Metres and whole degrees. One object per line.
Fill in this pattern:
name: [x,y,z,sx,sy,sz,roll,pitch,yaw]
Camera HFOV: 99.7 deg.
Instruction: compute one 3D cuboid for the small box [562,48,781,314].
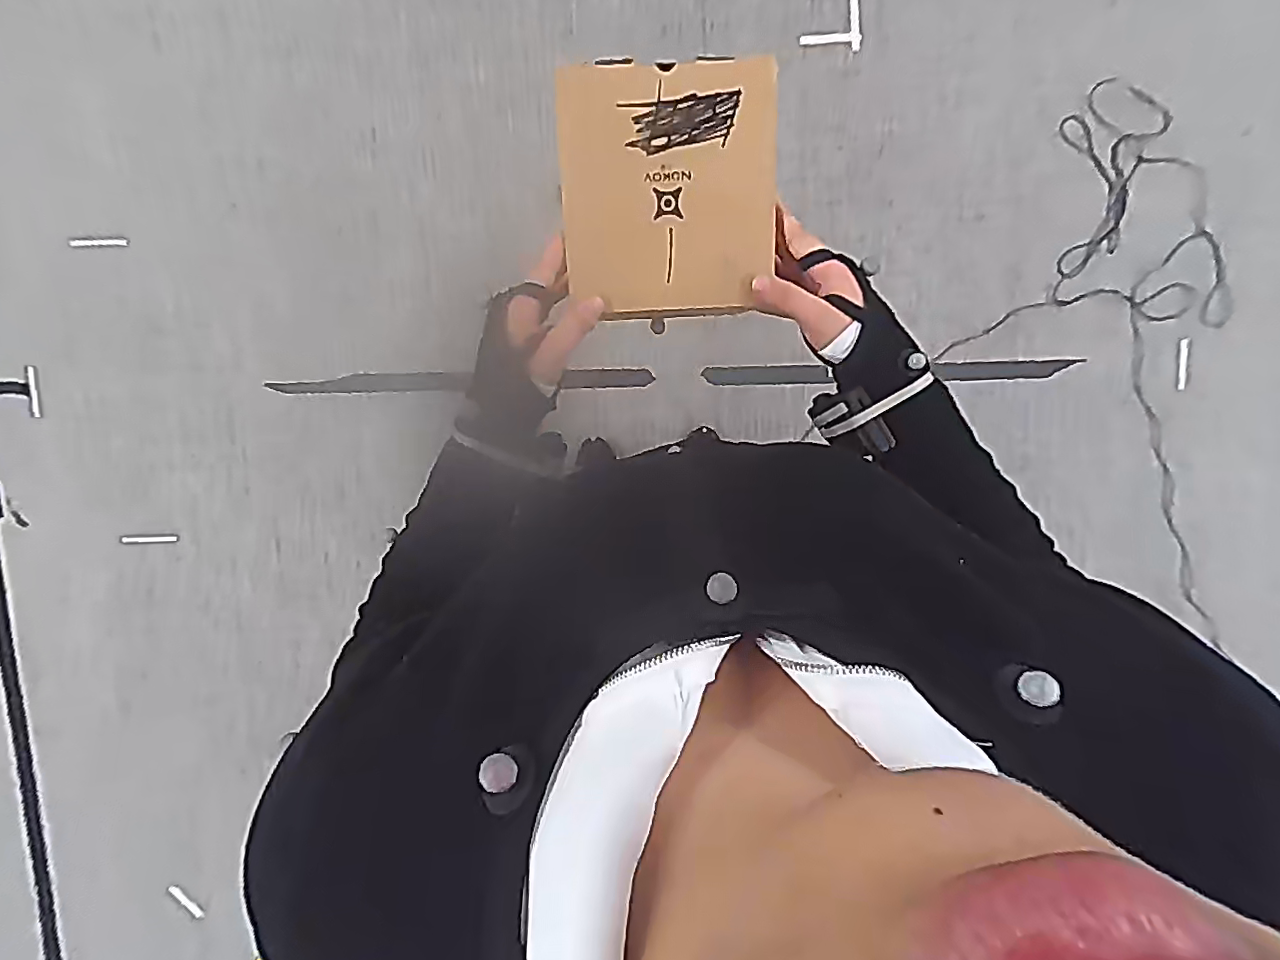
small box: [0.023,-0.249,0.492,0.168,0.176,0.179,-3,105,0]
